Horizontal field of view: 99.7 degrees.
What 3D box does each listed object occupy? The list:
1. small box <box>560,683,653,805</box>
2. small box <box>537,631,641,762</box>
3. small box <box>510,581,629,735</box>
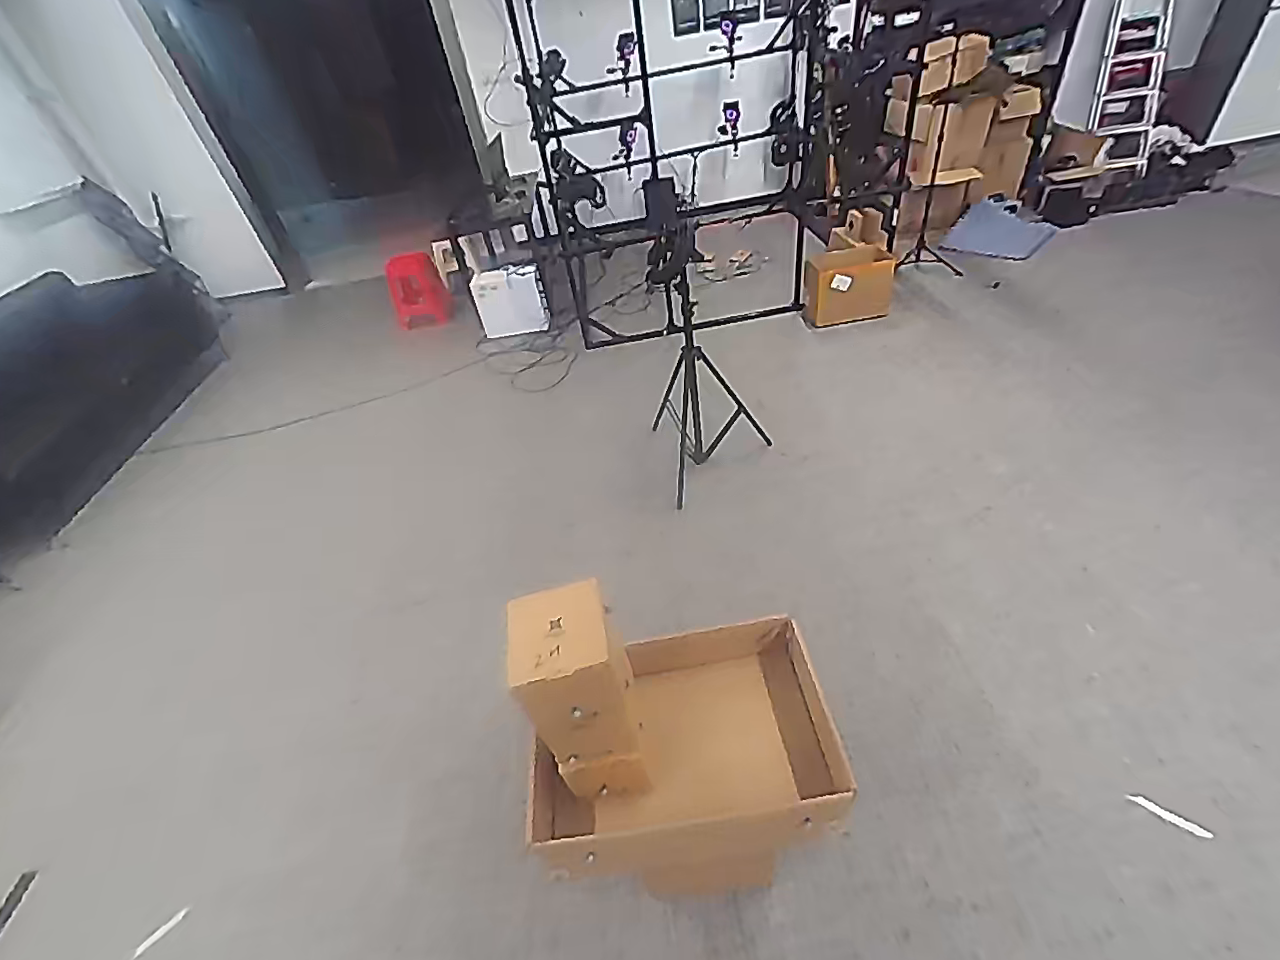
[{"bbox_3d":[-0.072,0.562,1.160,0.168,0.176,0.179,-12,41,1],"label":"small box"},{"bbox_3d":[-0.098,0.431,1.064,0.168,0.176,0.179,-12,40,1],"label":"small box"},{"bbox_3d":[-0.124,0.313,0.952,0.168,0.176,0.179,-15,41,-2],"label":"small box"}]
